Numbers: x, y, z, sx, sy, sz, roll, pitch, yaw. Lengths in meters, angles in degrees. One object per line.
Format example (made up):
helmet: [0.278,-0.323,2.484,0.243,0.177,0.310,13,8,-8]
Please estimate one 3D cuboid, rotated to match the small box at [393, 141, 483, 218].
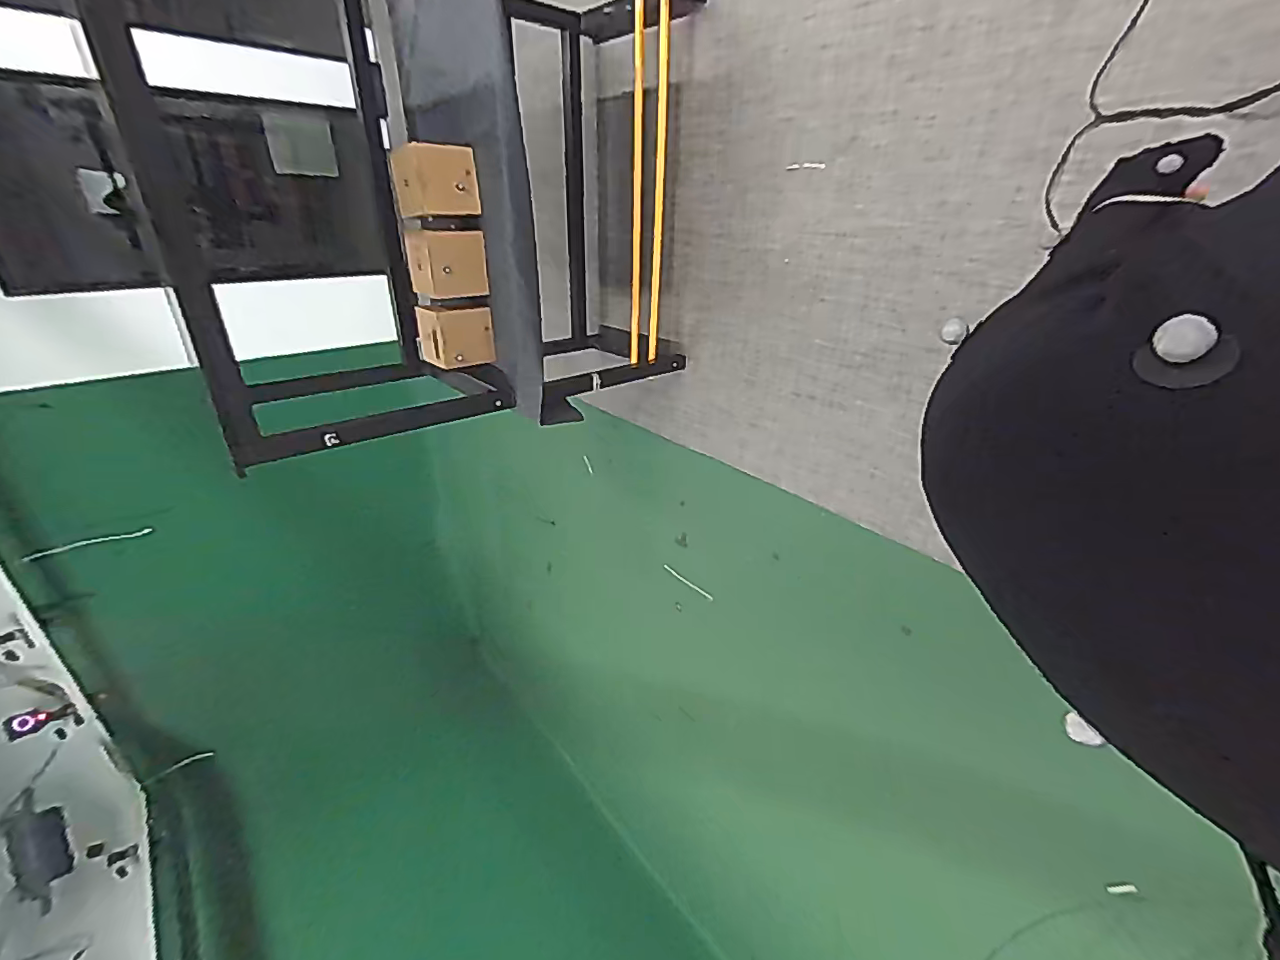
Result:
small box: [-0.559,-0.826,1.503,0.179,0.176,0.168,20,122,45]
